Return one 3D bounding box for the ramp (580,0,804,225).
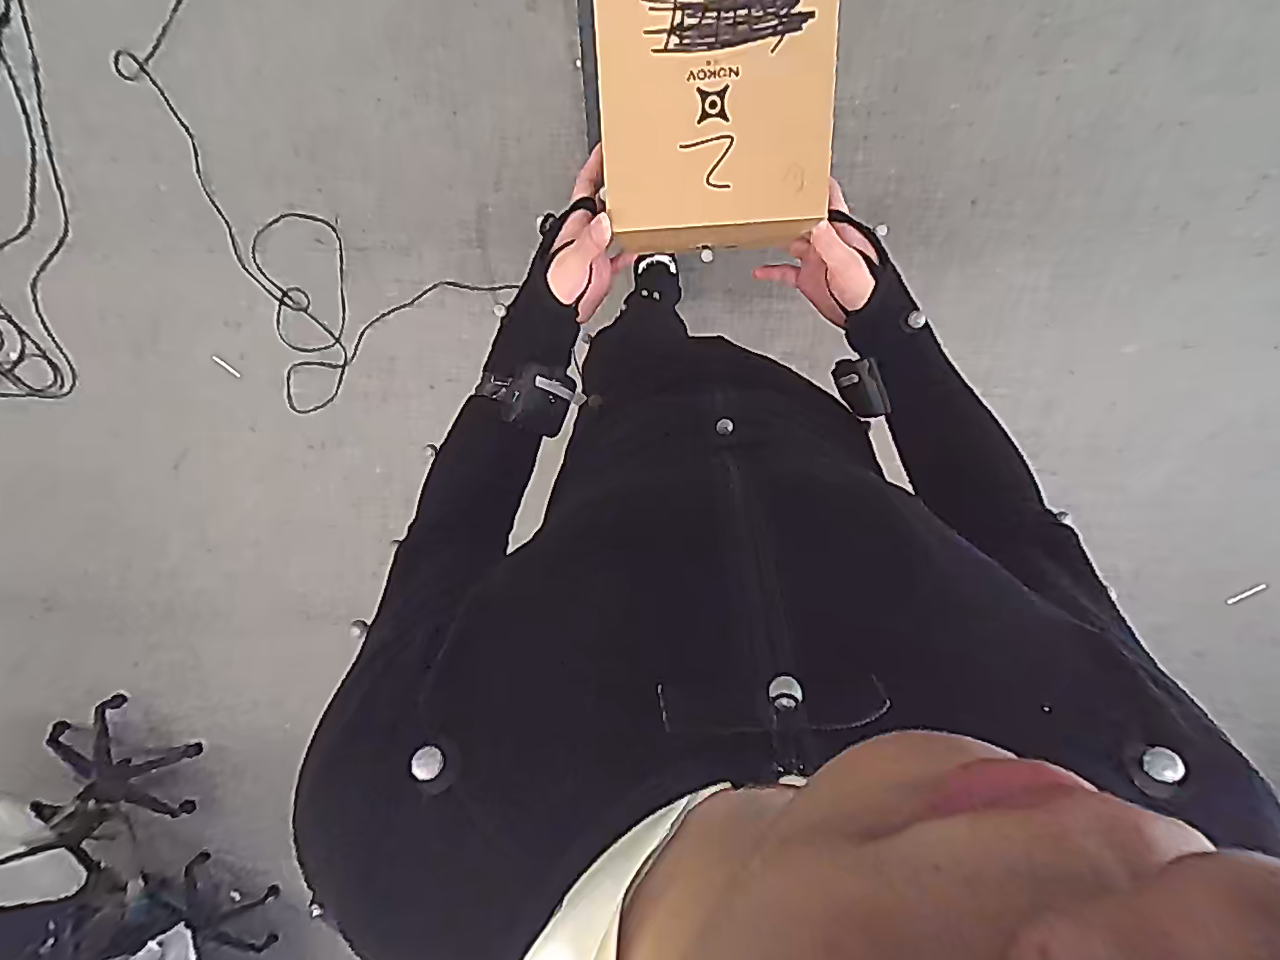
[{"bbox_3d":[0.110,-1.106,1.159,0.509,0.206,0.991,-1,110,6],"label":"ramp"}]
